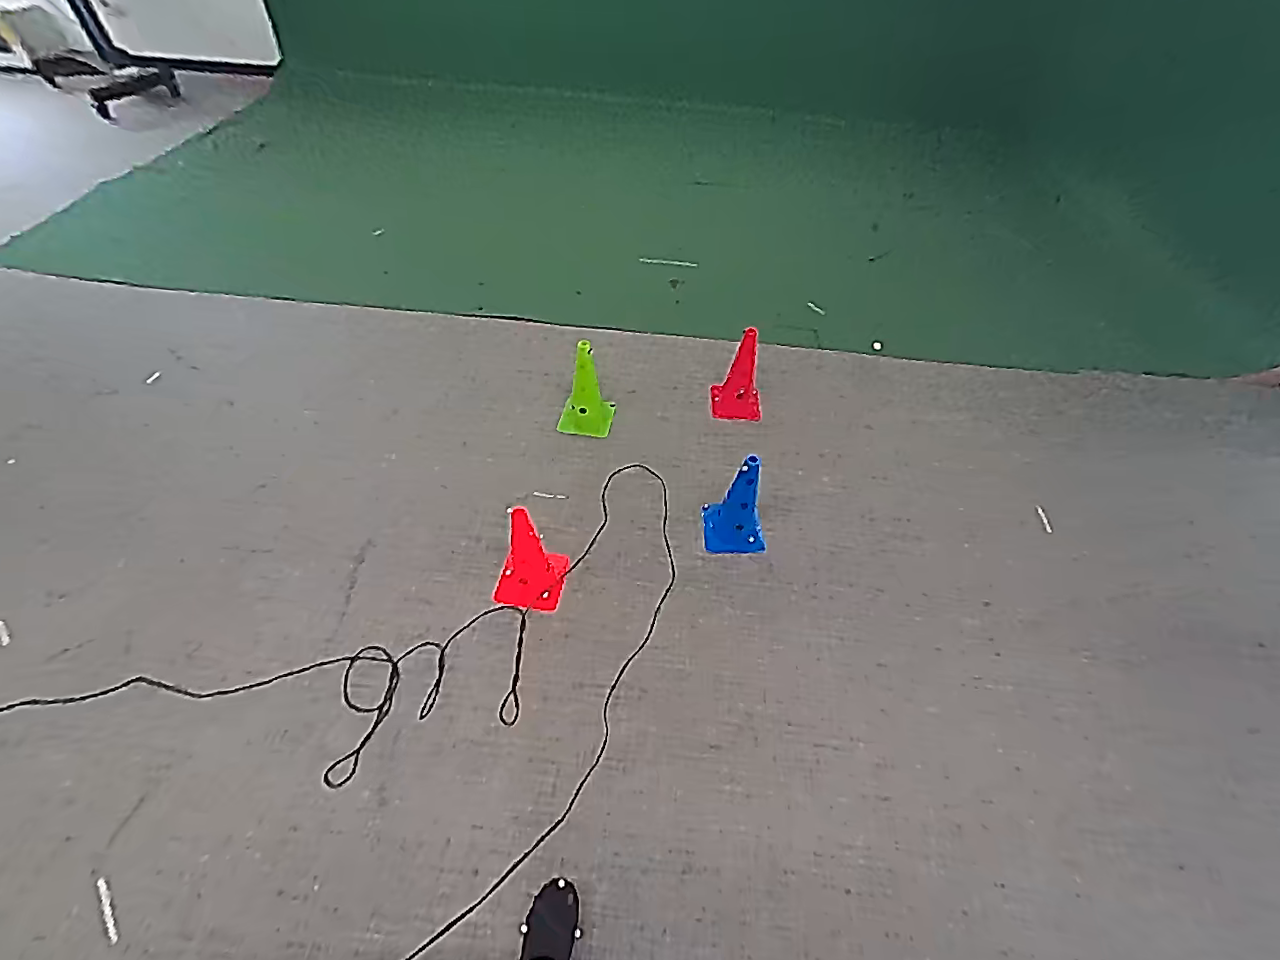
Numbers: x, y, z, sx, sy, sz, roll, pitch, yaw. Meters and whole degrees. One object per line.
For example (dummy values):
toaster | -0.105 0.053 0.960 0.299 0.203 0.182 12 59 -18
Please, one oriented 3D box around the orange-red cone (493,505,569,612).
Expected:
orange-red cone | -0.323 0.193 1.544 0.198 0.360 0.199 10 49 4

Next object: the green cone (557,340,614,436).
green cone | -0.209 -0.363 2.005 0.200 0.368 0.202 7 51 3
